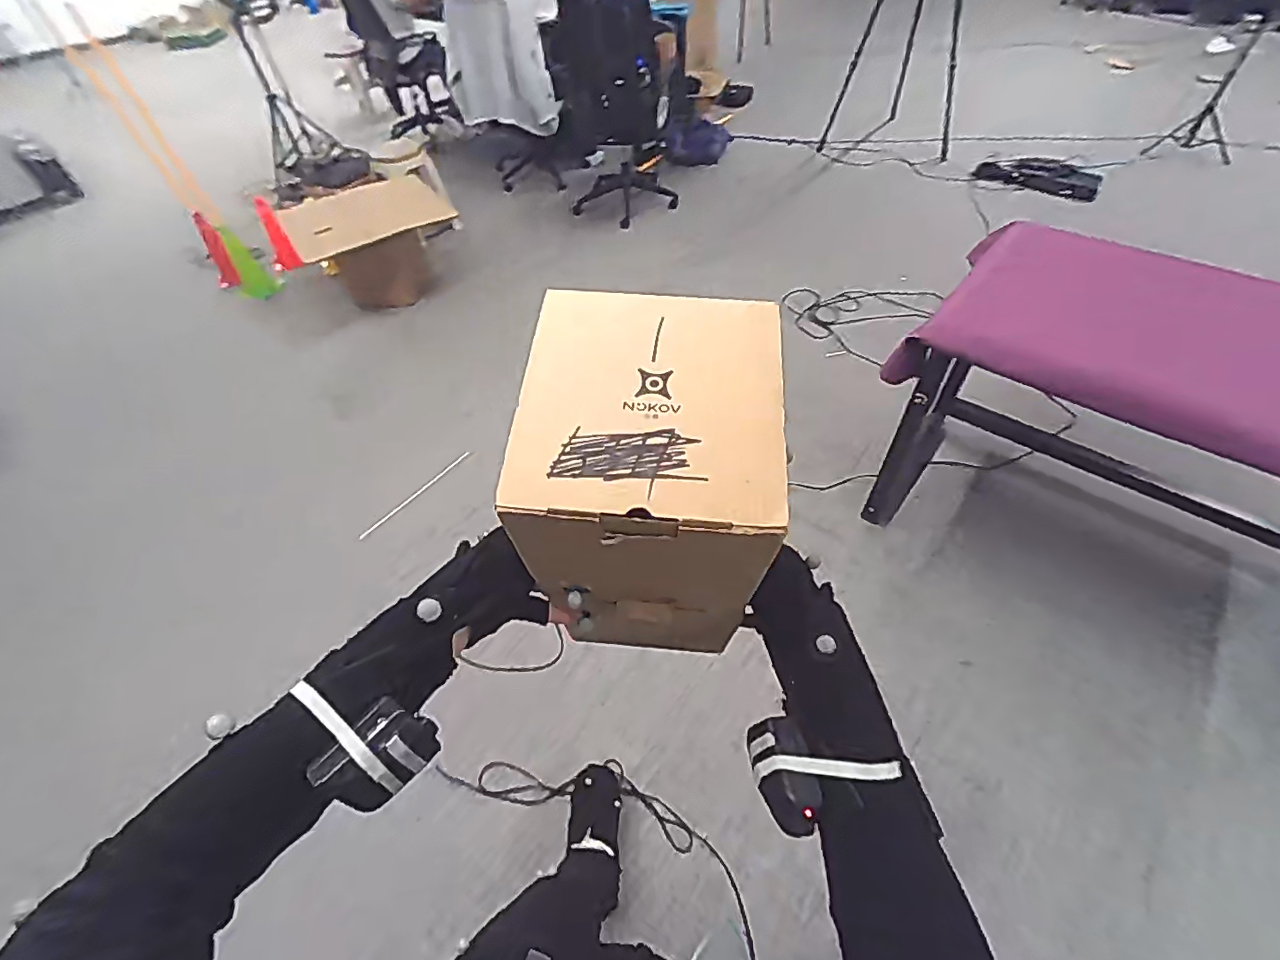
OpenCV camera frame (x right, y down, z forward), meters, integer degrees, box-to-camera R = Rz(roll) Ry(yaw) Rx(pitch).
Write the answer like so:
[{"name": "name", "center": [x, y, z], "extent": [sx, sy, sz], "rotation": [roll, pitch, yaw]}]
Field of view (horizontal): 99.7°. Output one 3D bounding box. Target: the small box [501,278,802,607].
[{"name": "small box", "center": [0.015, -0.016, 0.403], "extent": [0.168, 0.176, 0.179], "rotation": [8, 63, 3]}]
